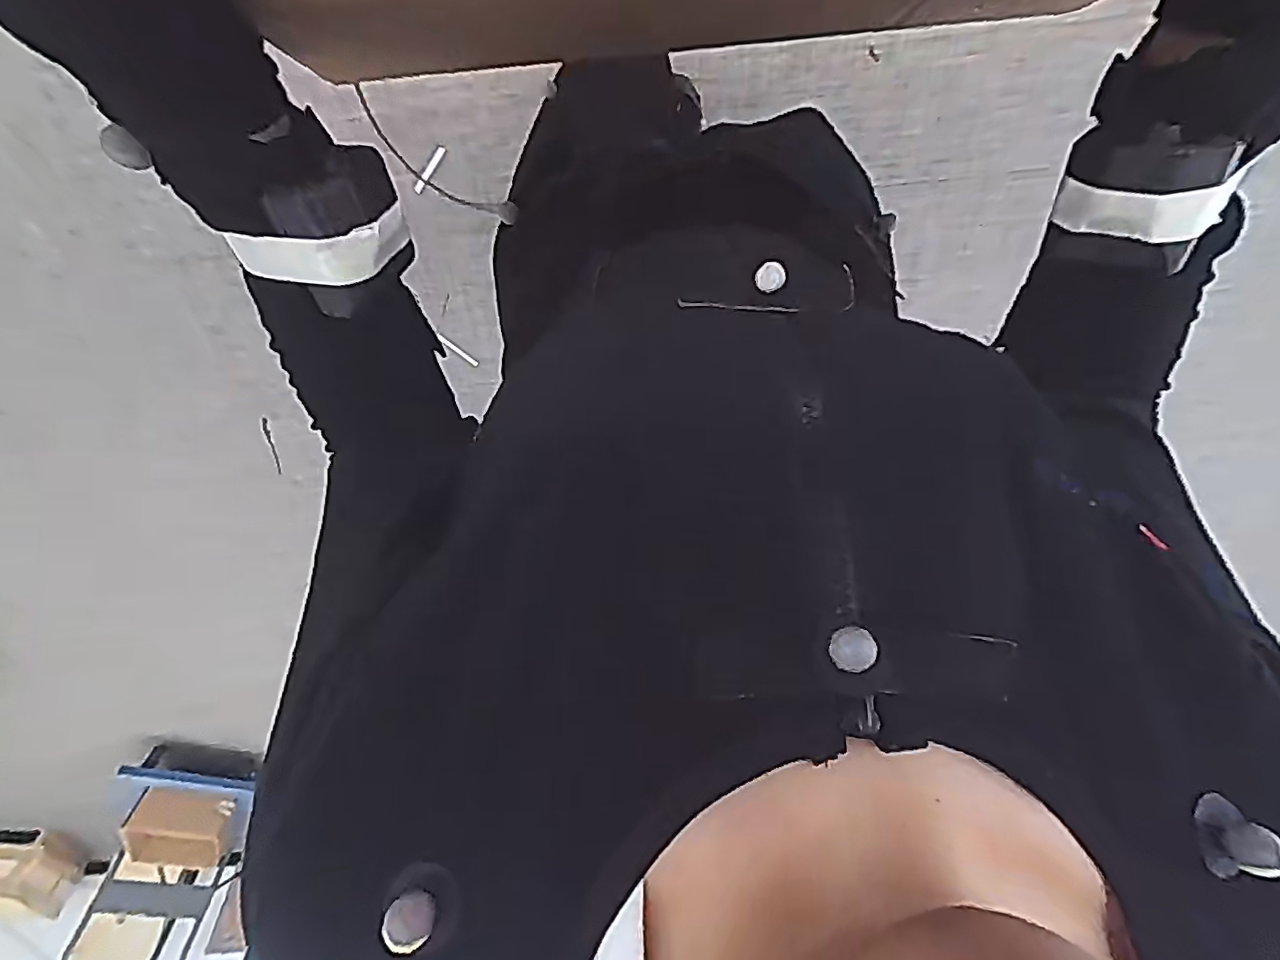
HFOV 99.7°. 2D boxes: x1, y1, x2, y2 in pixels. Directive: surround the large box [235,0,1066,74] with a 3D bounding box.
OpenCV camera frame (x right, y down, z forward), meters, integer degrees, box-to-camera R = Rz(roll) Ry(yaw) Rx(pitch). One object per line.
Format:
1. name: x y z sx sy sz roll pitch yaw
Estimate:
1. large box: 0.024 -0.330 0.101 0.408 0.320 0.320 -5 111 0
